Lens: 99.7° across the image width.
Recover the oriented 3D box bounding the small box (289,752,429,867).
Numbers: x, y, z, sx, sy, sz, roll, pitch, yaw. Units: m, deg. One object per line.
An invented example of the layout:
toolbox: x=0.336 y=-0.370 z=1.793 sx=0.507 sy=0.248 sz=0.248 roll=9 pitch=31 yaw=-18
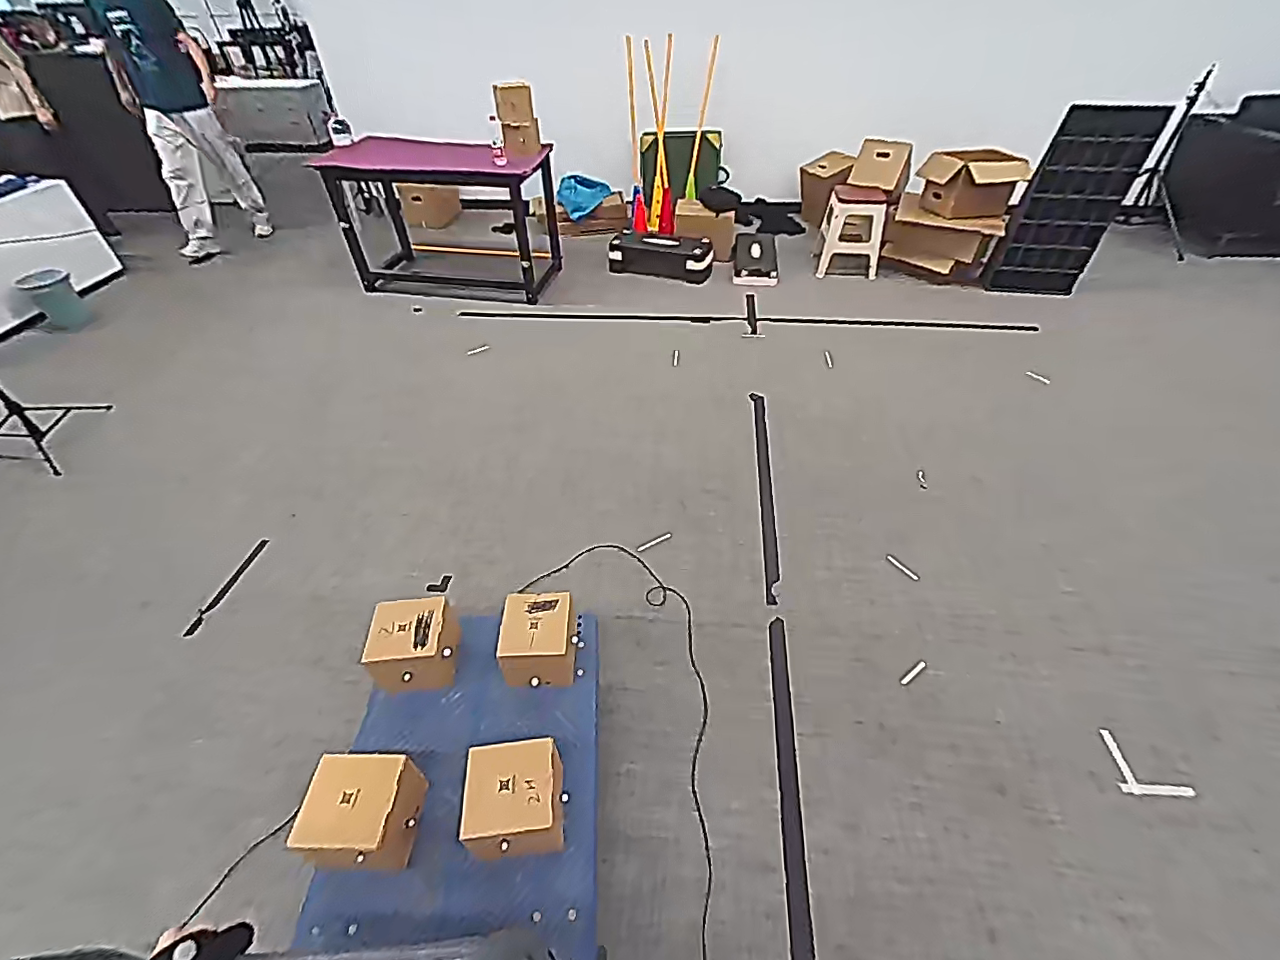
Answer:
small box: x=-0.561 y=0.676 z=1.107 sx=0.179 sy=0.176 sz=0.168 roll=1 pitch=43 yaw=0

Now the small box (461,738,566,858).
small box: x=-0.252 y=0.658 z=1.116 sx=0.179 sy=0.176 sz=0.168 roll=-5 pitch=44 yaw=-4

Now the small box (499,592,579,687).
small box: x=-0.249 y=0.407 z=1.380 sx=0.168 sy=0.176 sz=0.179 roll=-1 pitch=45 yaw=0
